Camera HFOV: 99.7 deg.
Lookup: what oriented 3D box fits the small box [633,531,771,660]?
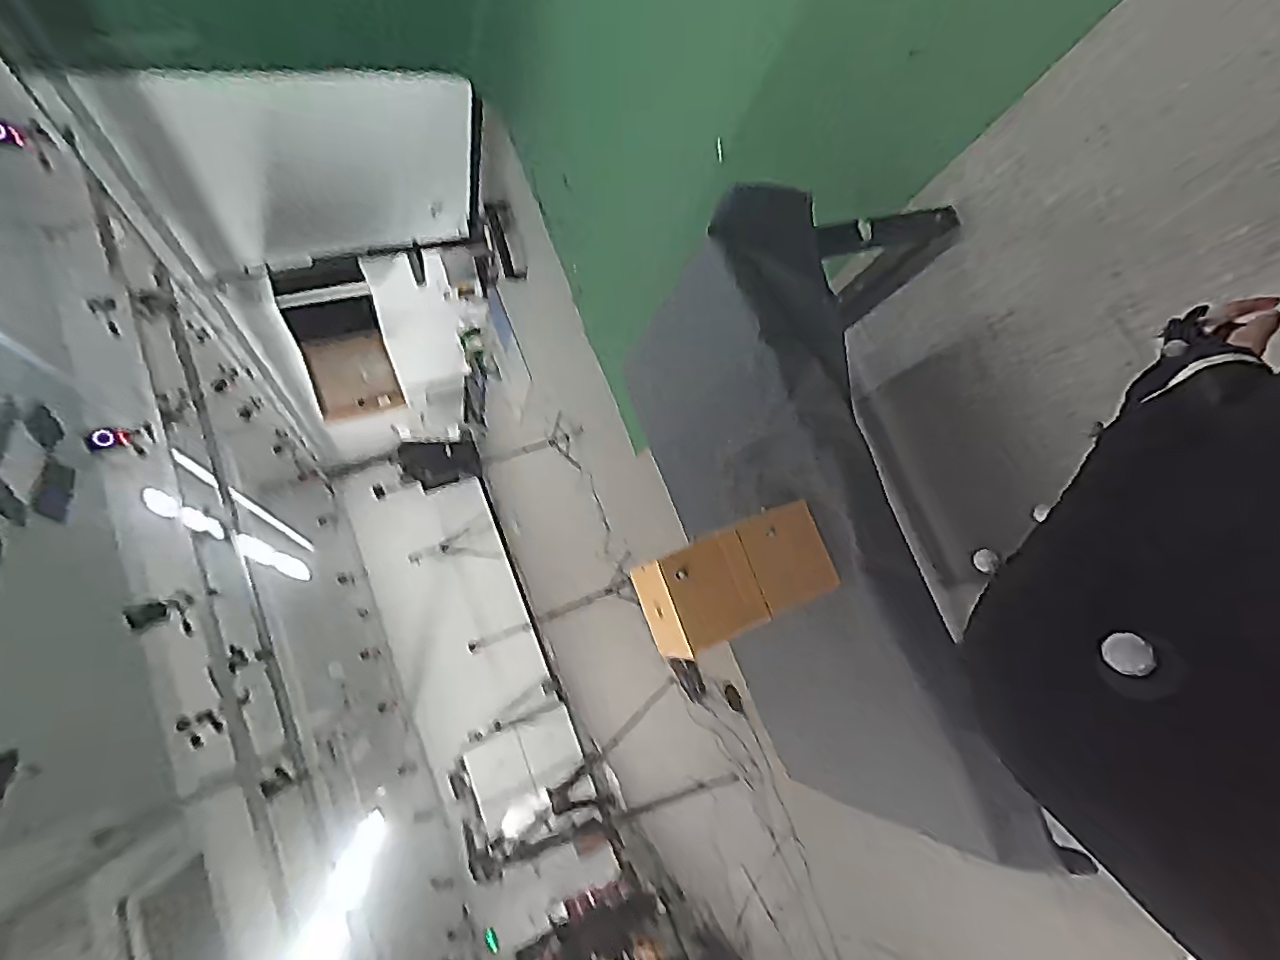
[{"bbox_3d":[0.112,0.211,0.999,0.179,0.176,0.168,69,157,8],"label":"small box"}]
